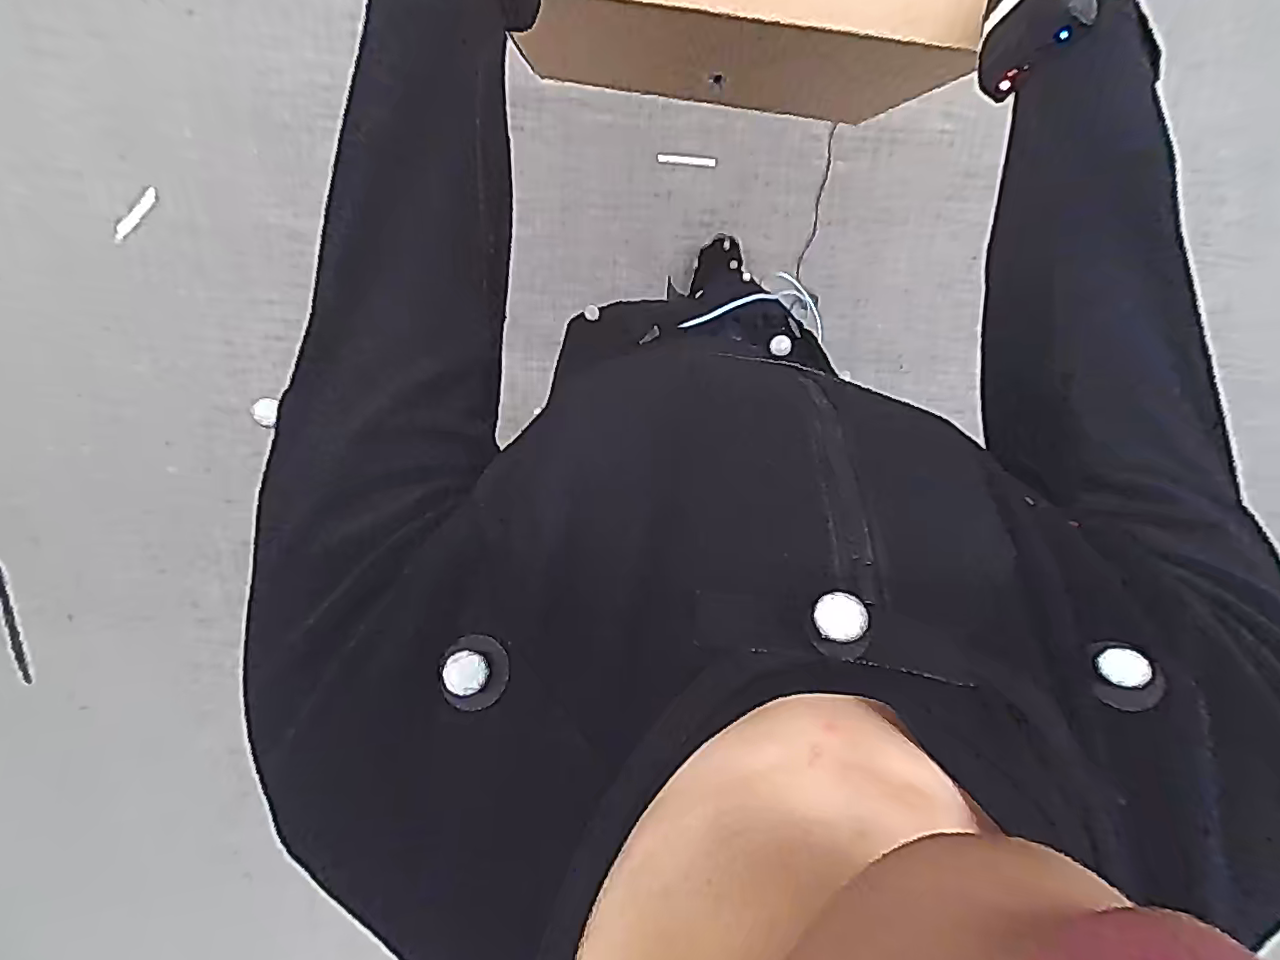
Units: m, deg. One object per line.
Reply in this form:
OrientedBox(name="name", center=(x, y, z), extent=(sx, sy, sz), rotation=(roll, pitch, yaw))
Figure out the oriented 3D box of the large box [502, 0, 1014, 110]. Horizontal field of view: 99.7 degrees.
OrientedBox(name="large box", center=(0.098, -0.553, 0.476), extent=(0.408, 0.320, 0.320), rotation=(6, 114, -3))
